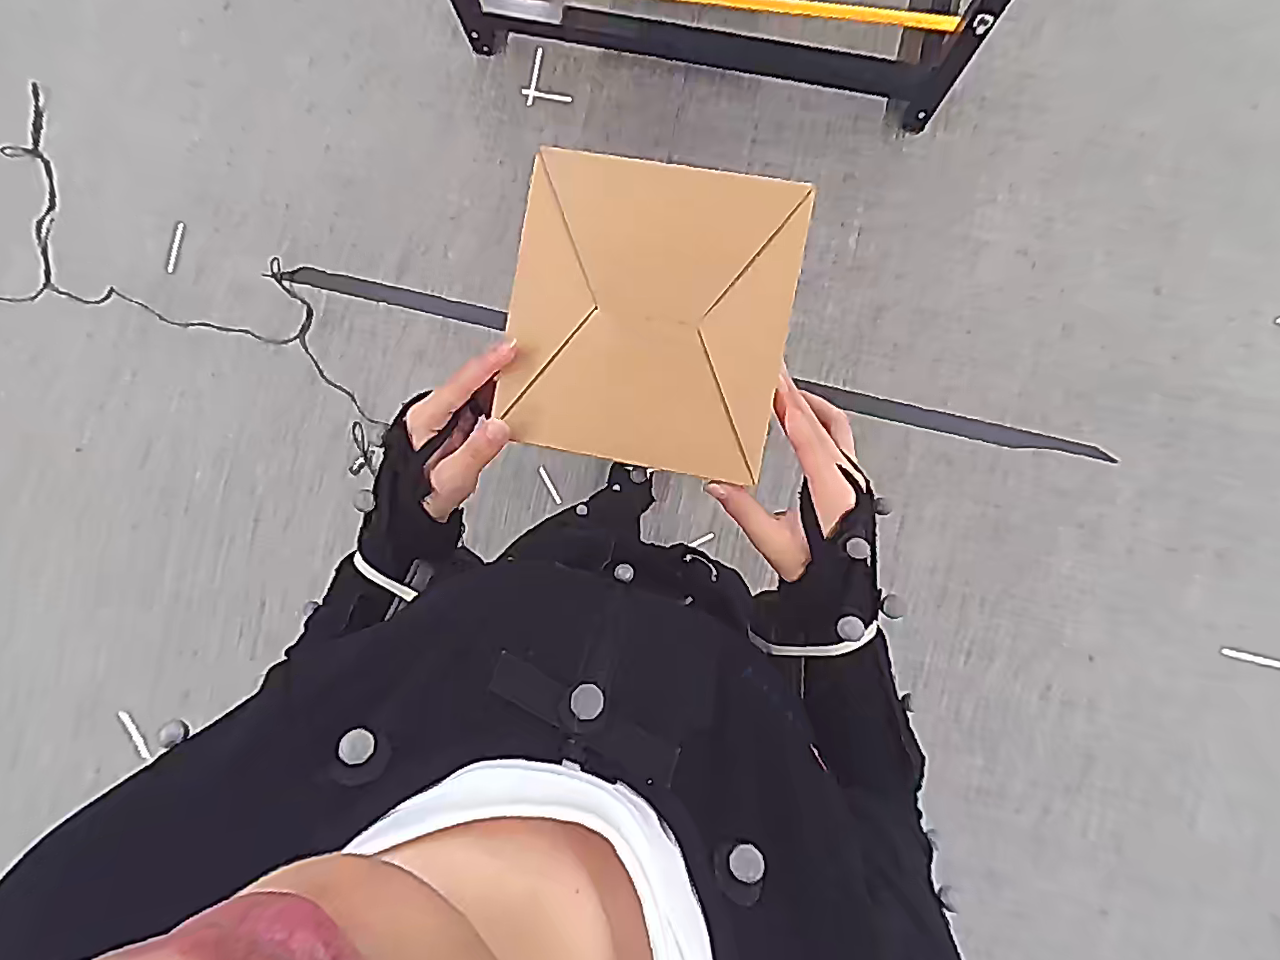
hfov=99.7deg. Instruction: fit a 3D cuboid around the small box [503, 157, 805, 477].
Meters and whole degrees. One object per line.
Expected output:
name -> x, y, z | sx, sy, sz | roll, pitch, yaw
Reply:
small box -> 0.012, -0.100, 0.403 | 0.168, 0.176, 0.179 | 11, 94, 5
